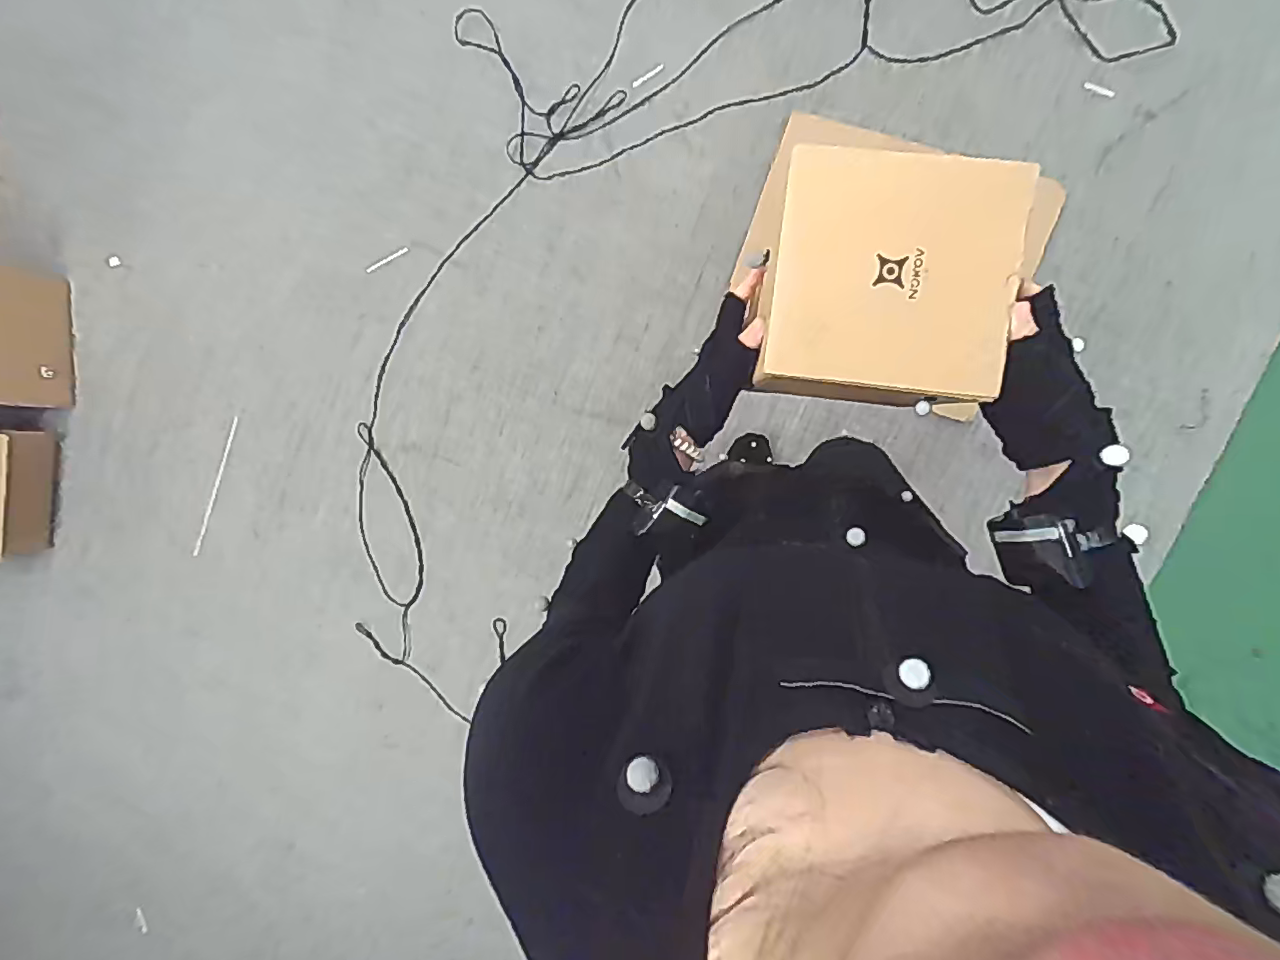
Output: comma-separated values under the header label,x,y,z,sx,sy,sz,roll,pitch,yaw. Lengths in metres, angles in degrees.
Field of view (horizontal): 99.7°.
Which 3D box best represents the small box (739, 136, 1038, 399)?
label,x,y,z,sx,sy,sz,roll,pitch,yaw
small box,0.187,-0.163,0.467,0.179,0.176,0.168,7,96,2
